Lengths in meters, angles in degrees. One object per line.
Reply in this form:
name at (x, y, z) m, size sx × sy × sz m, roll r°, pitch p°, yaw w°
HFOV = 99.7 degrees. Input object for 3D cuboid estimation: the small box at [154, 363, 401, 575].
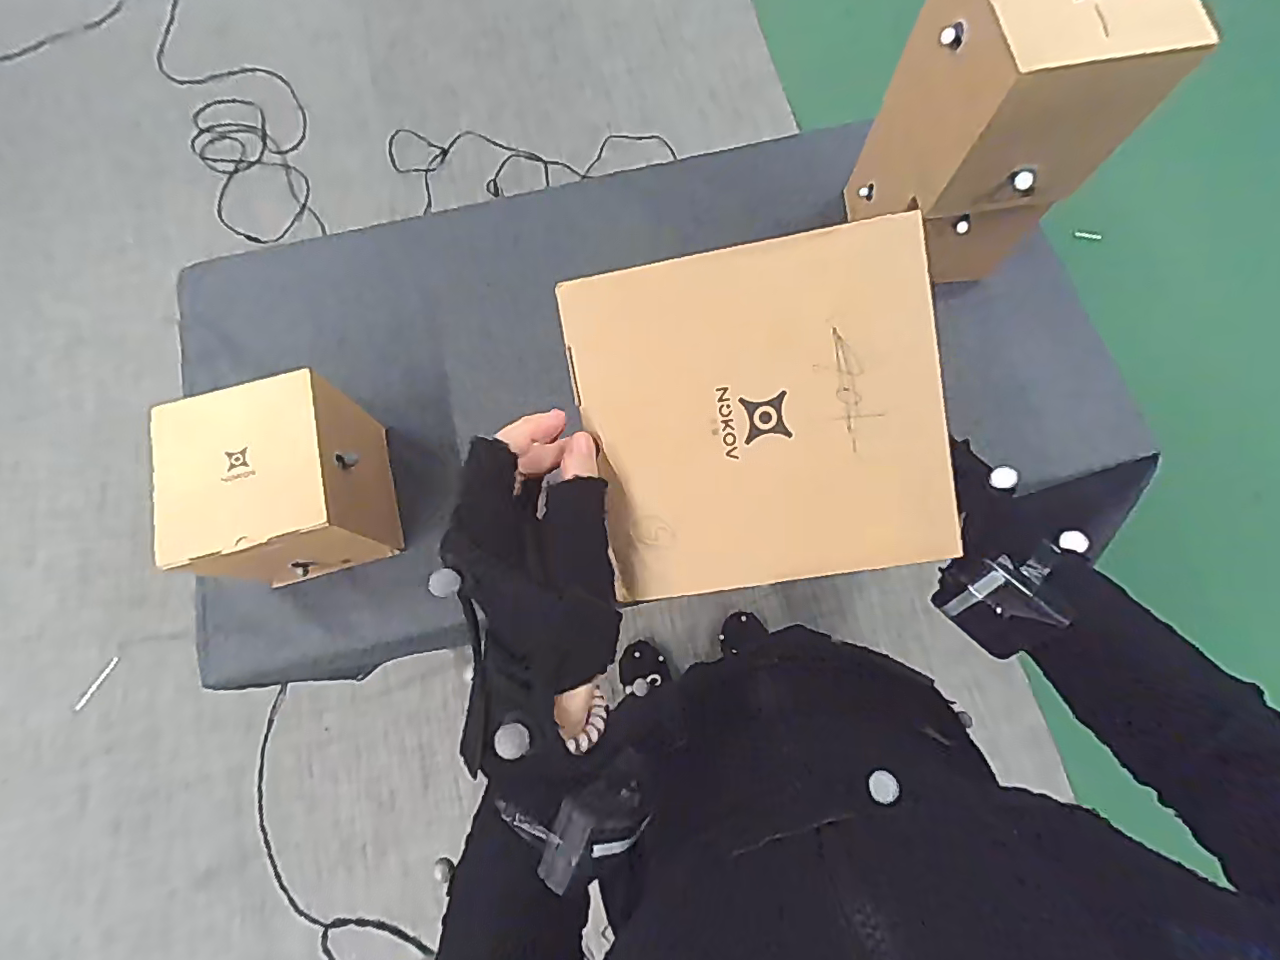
small box at (-0.396, -0.002, 0.614) m, size 0.168 × 0.176 × 0.179 m, roll -15°, pitch 75°, yaw -3°

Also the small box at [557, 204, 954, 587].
small box at (0.062, -0.043, 0.340) m, size 0.179 × 0.176 × 0.168 m, roll -8°, pitch 96°, yaw 5°

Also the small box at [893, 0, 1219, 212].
small box at (0.376, -0.402, 0.532) m, size 0.168 × 0.176 × 0.179 m, roll -8°, pitch 76°, yaw 0°

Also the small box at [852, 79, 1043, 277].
small box at (0.387, -0.378, 0.695) m, size 0.179 × 0.176 × 0.168 m, roll -2°, pitch 75°, yaw 1°
